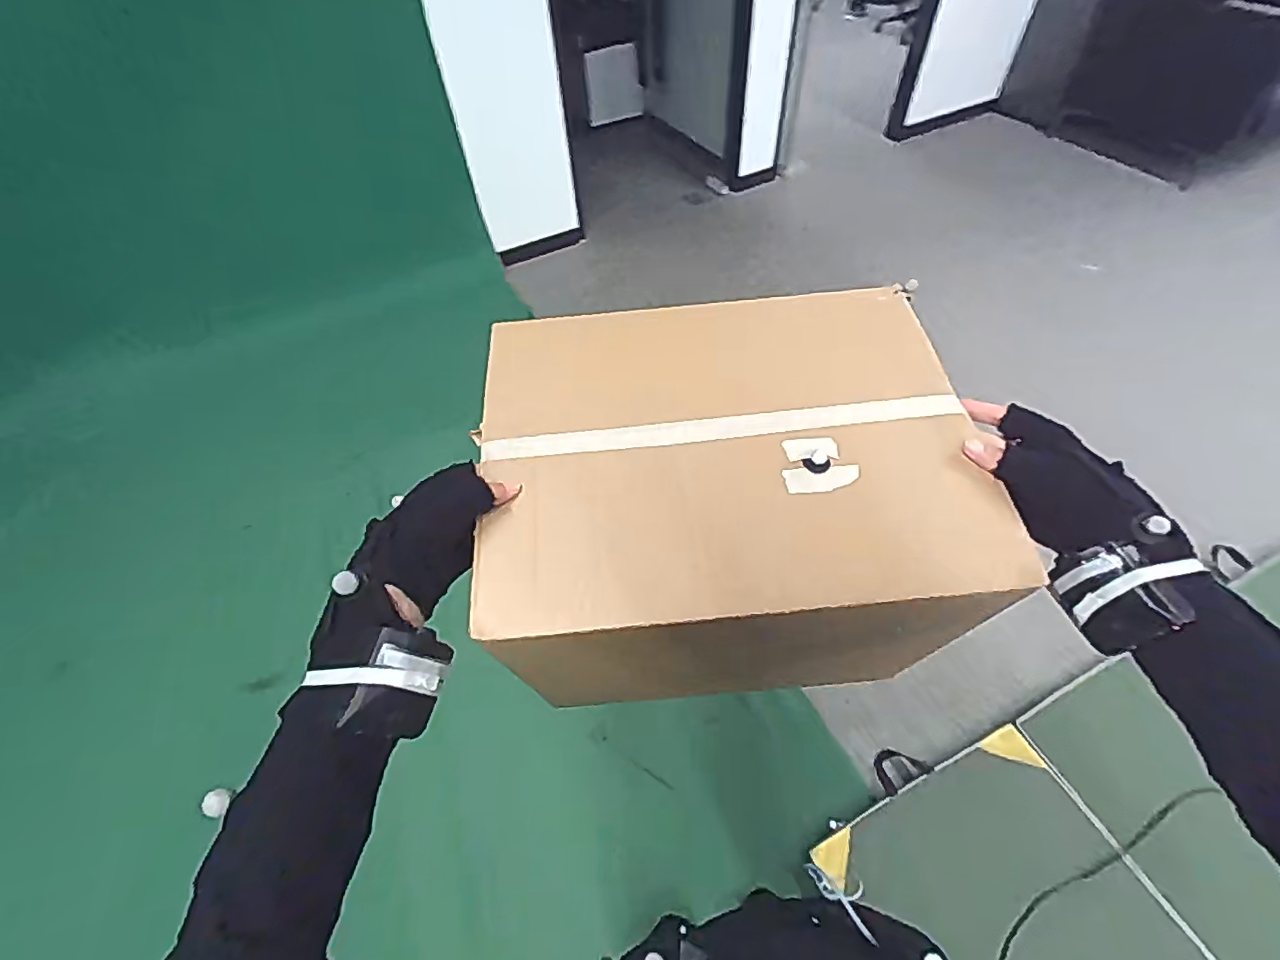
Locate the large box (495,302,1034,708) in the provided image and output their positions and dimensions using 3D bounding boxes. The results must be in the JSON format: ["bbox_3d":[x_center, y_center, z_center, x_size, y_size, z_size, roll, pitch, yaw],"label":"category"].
[{"bbox_3d":[0.083,0.043,0.592,0.408,0.320,0.320,-5,58,-1],"label":"large box"}]
